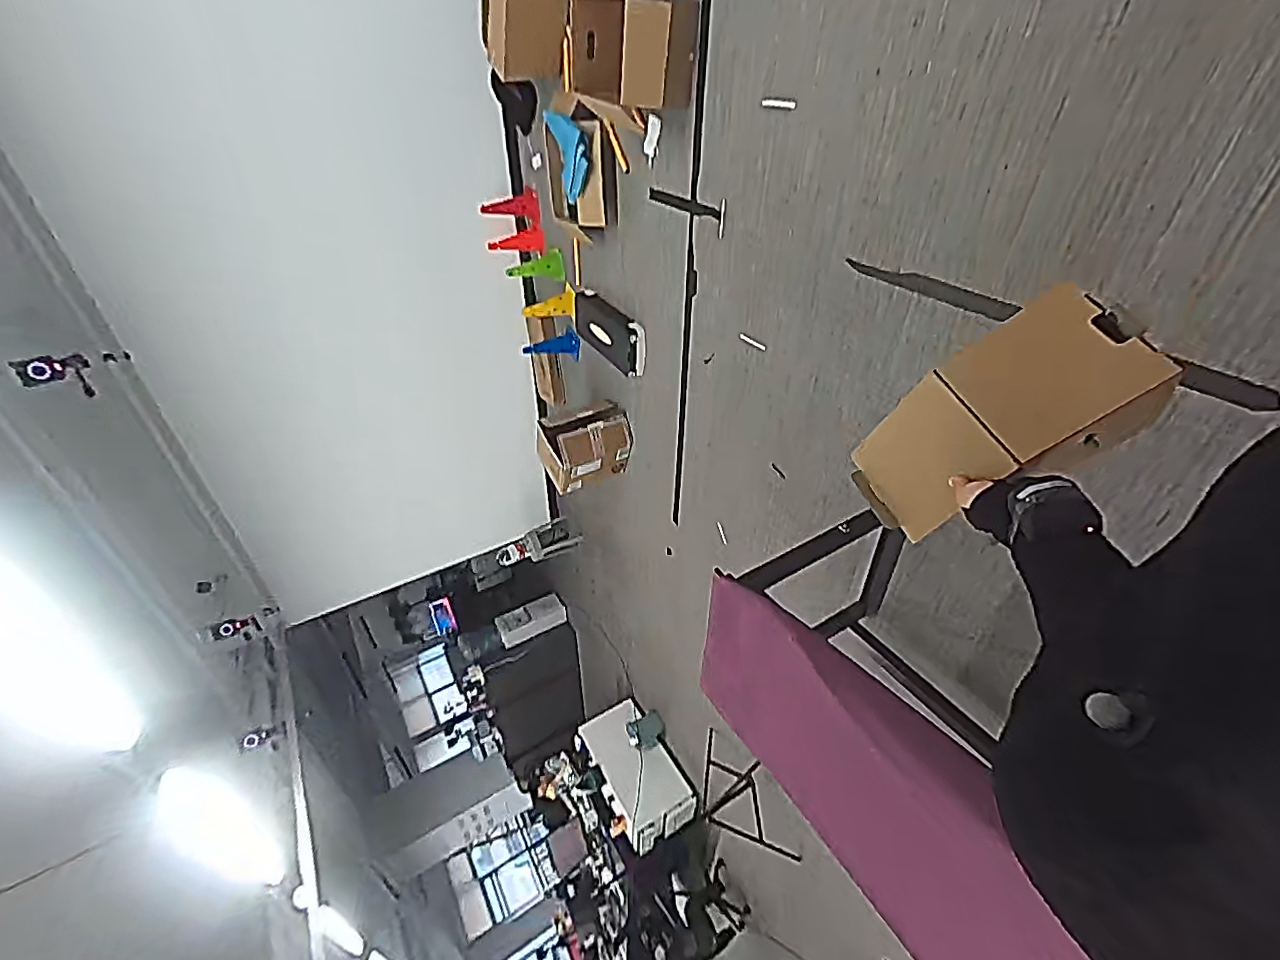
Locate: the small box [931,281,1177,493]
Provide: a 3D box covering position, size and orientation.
[{"bbox_3d":[0.515,-0.104,0.691,0.179,0.176,0.168,-38,57,22],"label":"small box"}]
